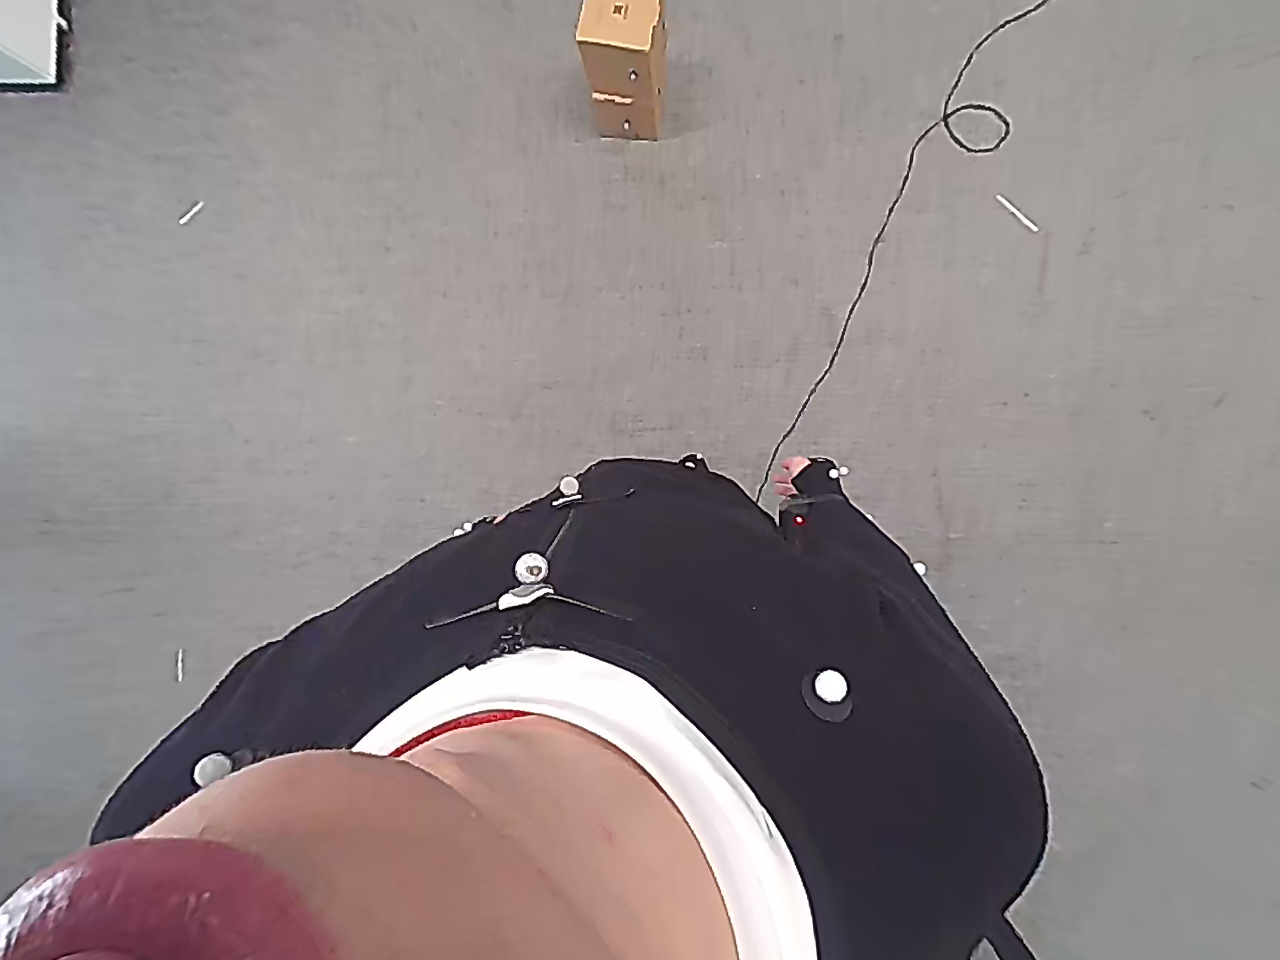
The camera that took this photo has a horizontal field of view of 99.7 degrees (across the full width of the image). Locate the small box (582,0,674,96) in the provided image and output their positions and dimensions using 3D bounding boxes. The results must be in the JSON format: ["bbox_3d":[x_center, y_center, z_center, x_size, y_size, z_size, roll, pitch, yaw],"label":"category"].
[{"bbox_3d":[-0.021,-1.068,1.300,0.179,0.176,0.168,14,91,7],"label":"small box"}]

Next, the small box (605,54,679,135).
[{"bbox_3d":[-0.006,-1.078,1.454,0.179,0.176,0.168,-21,87,8],"label":"small box"}]
